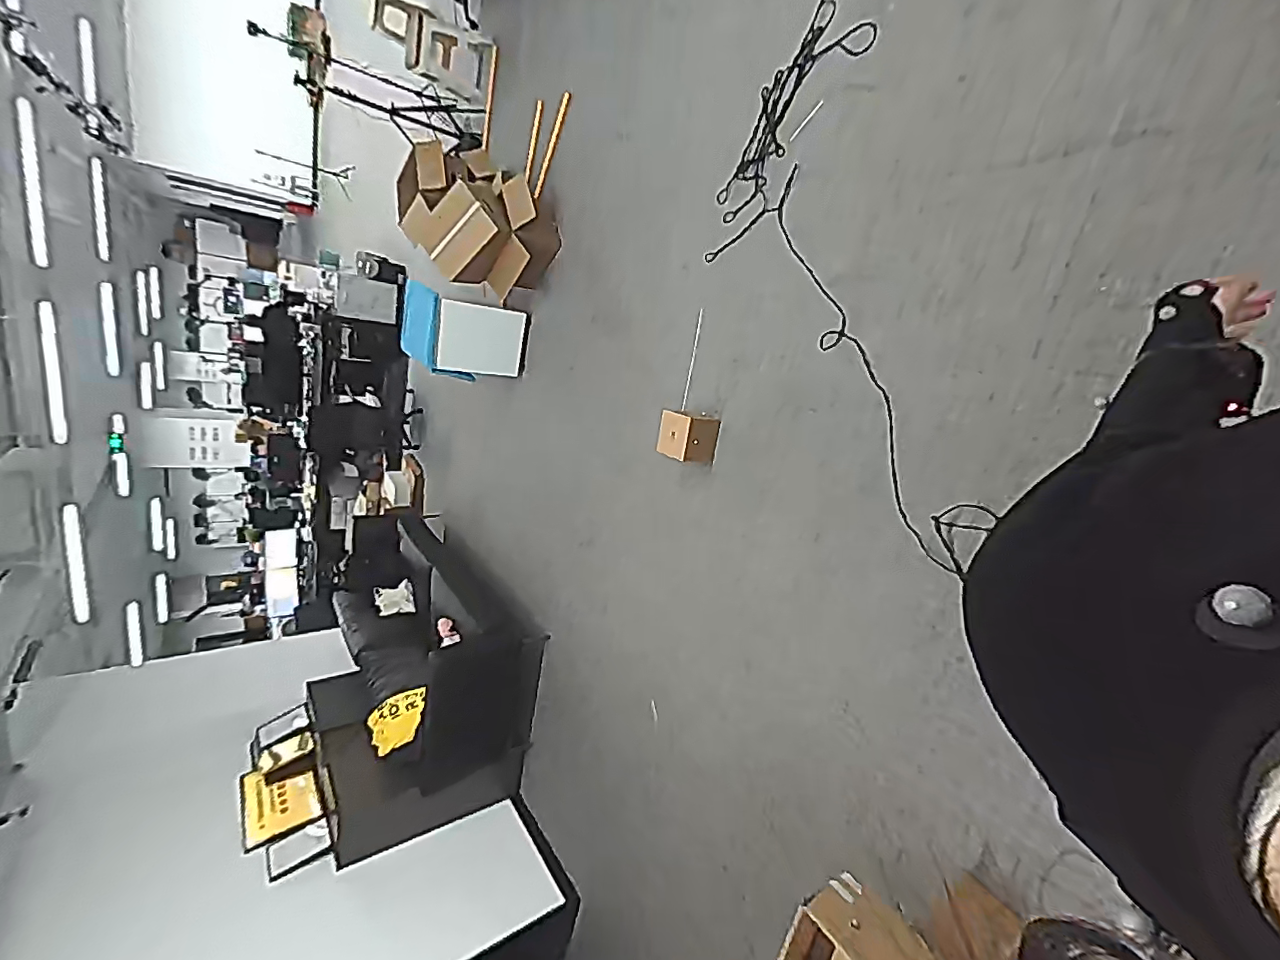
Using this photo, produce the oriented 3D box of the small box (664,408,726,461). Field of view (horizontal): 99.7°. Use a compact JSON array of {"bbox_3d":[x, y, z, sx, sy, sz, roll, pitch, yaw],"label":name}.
[{"bbox_3d":[0.219,-0.180,2.145,0.168,0.176,0.179,27,113,49],"label":"small box"}]
